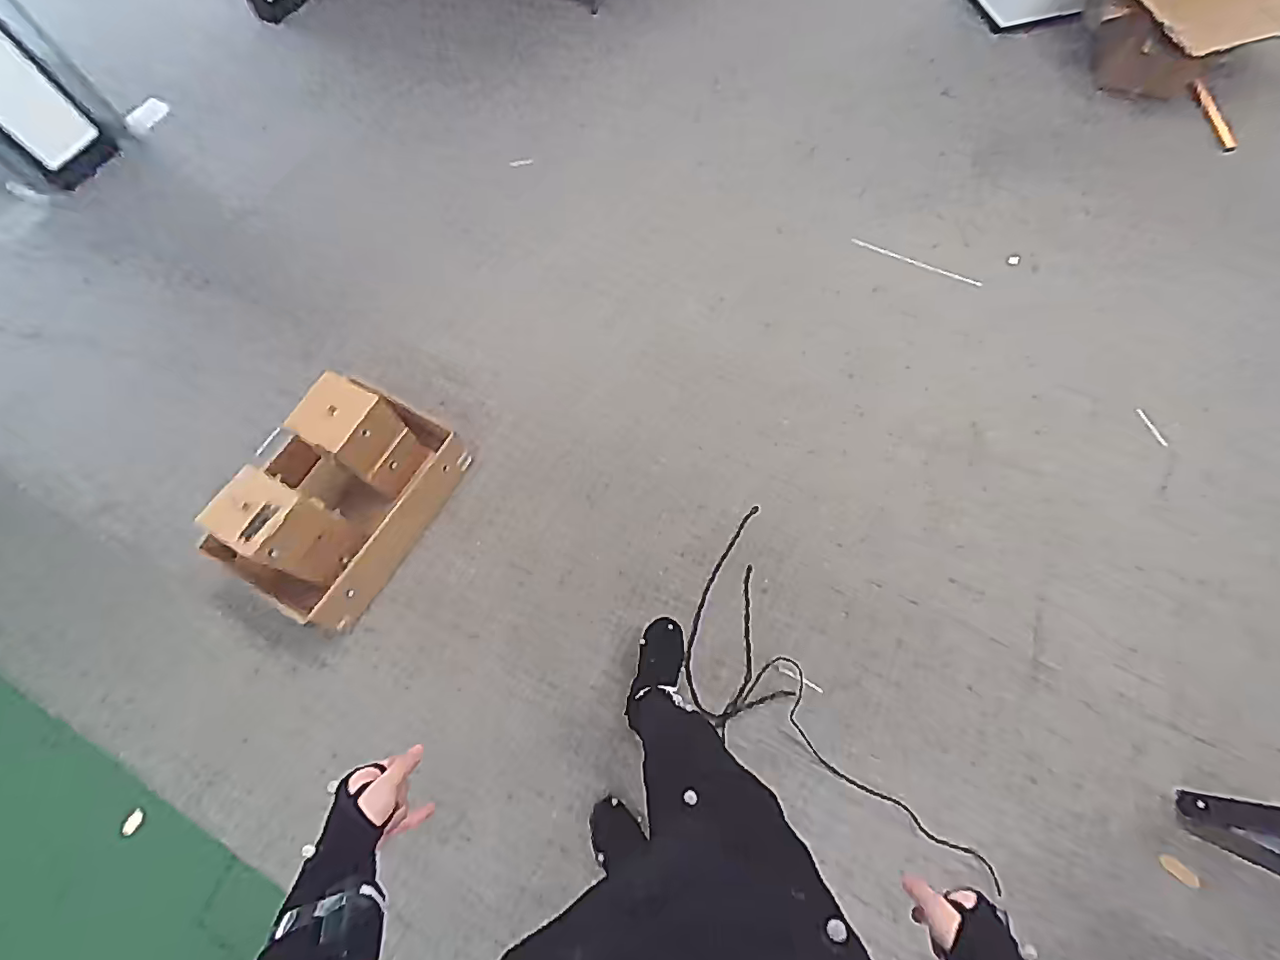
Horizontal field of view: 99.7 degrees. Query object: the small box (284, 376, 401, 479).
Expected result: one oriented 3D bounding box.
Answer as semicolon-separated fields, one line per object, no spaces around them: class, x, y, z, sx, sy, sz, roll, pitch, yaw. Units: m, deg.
small box;-0.753;-0.129;1.393;0.168;0.176;0.179;26;70;9
